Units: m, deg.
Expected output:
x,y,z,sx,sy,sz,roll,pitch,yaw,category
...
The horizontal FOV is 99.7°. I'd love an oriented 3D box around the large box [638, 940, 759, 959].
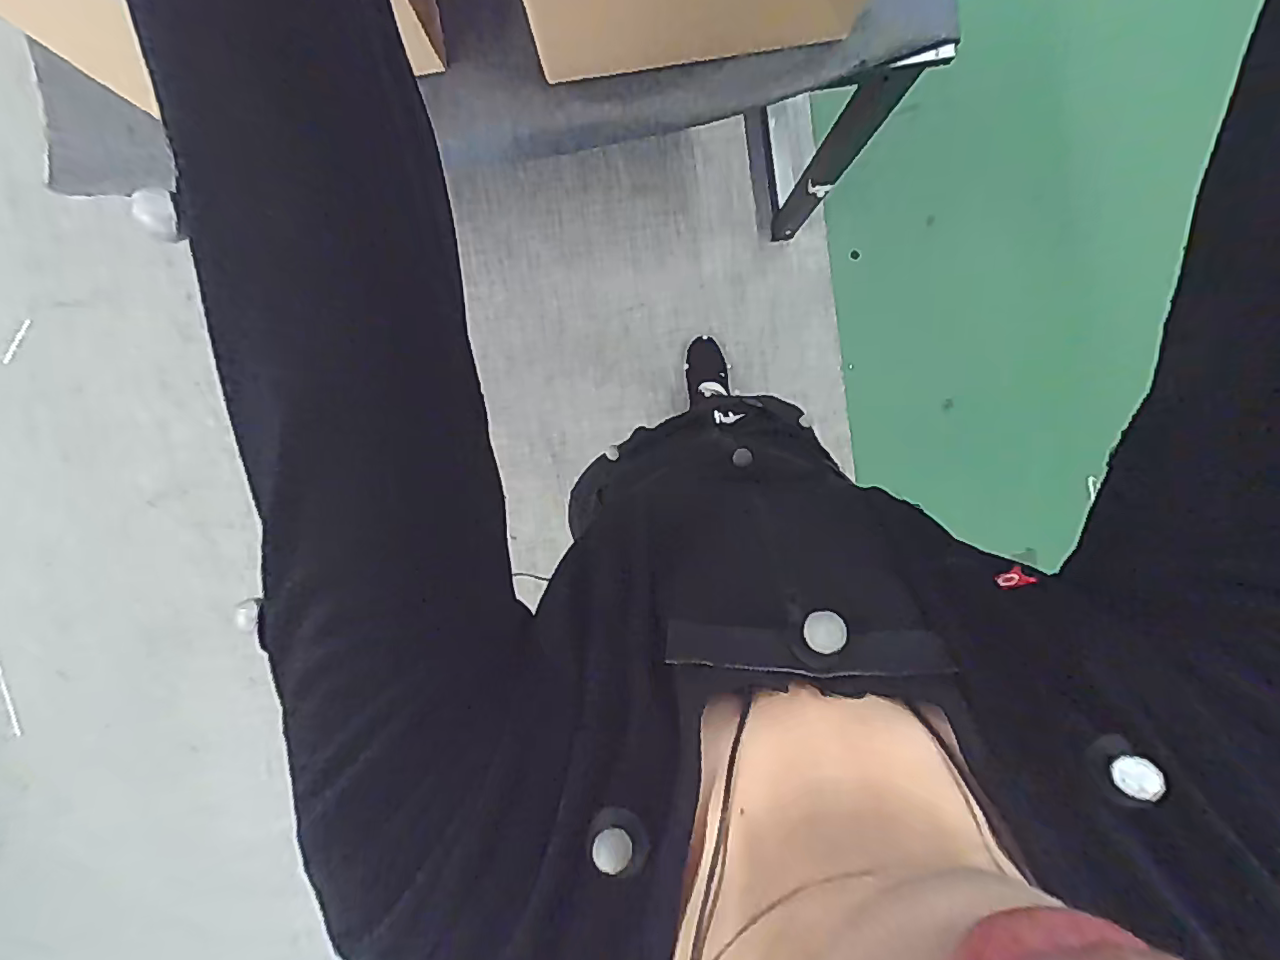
x,y,z,sx,sy,sz,roll,pitch,yaw,category
0.175,1.575,1.492,0.408,0.320,0.320,-9,95,-1,large box
